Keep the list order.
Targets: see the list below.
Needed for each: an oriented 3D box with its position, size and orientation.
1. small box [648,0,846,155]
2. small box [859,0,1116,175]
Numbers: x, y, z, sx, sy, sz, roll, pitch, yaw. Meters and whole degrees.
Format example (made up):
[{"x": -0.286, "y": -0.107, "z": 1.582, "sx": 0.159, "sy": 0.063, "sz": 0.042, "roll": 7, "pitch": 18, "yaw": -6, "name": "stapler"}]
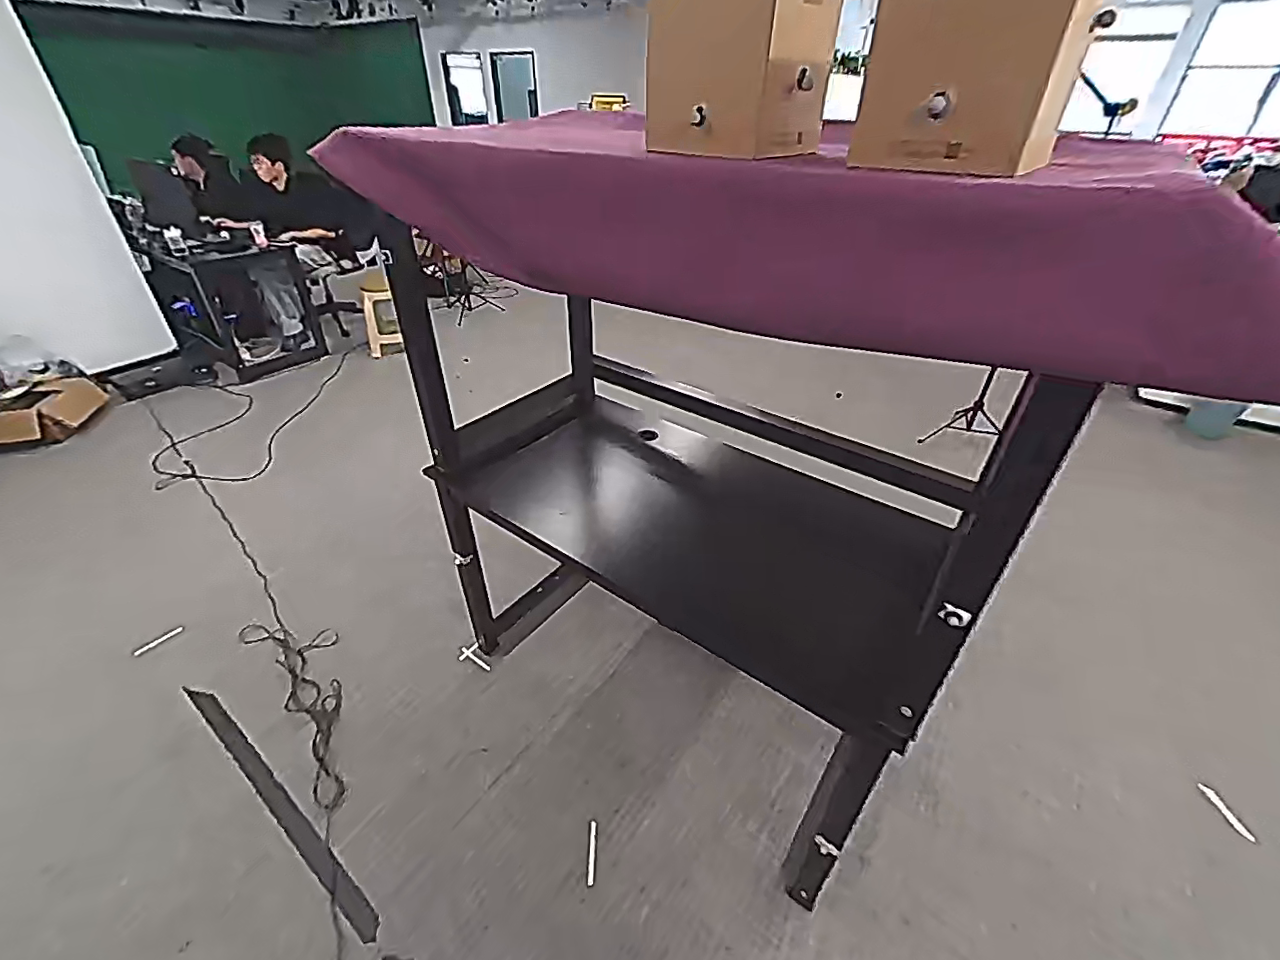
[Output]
[{"x": 0.127, "y": -0.508, "z": 0.675, "sx": 0.179, "sy": 0.176, "sz": 0.168, "roll": 27, "pitch": 42, "yaw": 31, "name": "small box"}, {"x": 0.344, "y": -0.415, "z": 0.545, "sx": 0.168, "sy": 0.176, "sz": 0.179, "roll": 26, "pitch": 42, "yaw": 32, "name": "small box"}]
